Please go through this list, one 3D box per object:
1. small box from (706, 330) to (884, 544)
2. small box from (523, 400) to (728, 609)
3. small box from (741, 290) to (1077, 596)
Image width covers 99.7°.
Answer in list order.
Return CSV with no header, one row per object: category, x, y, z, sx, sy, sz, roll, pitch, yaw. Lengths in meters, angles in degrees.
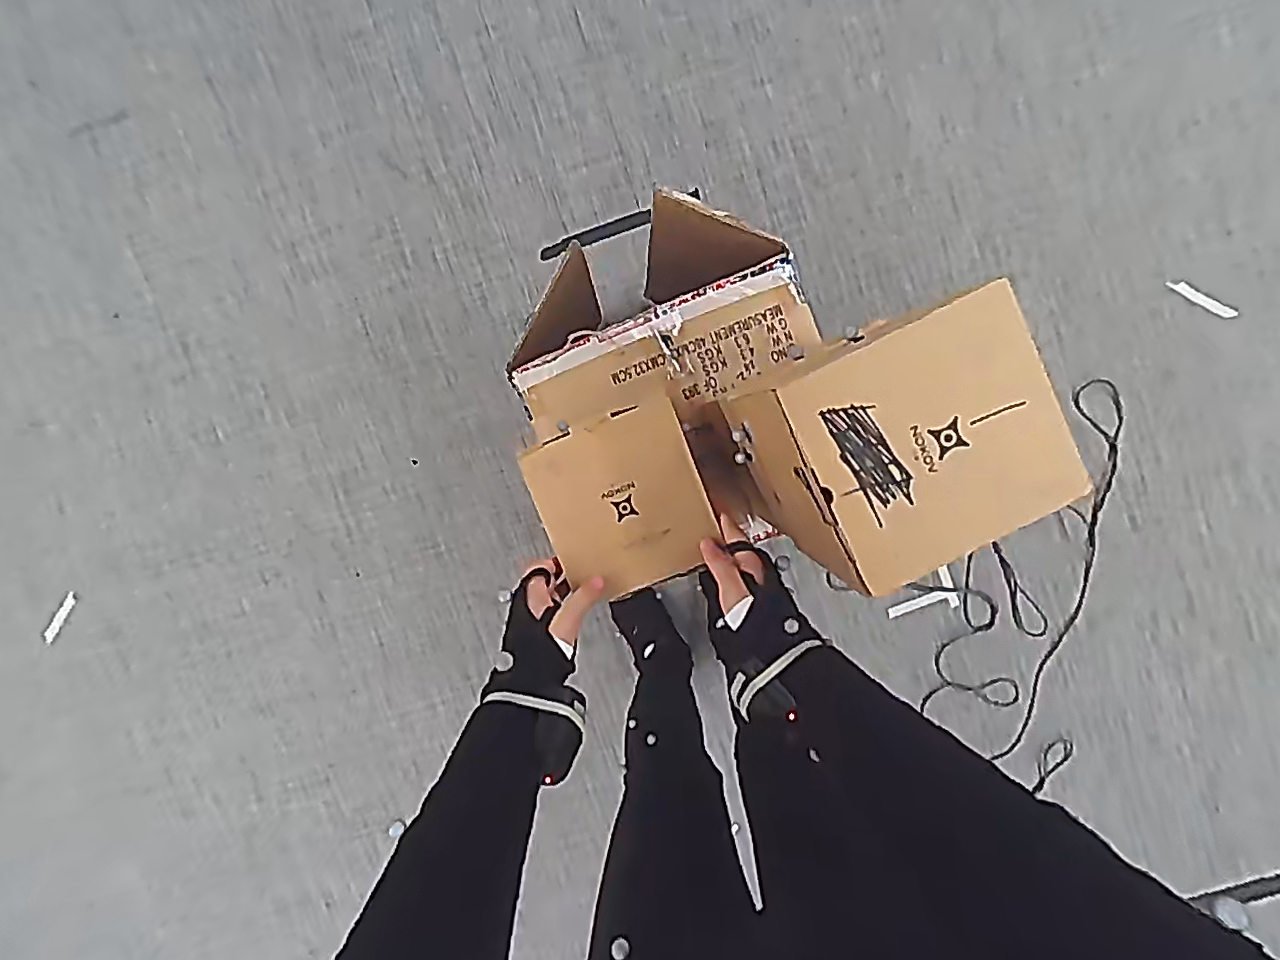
small box,0.195,-0.051,0.625,0.179,0.176,0.168,-26,96,1
small box,-0.015,0.018,0.630,0.168,0.176,0.179,-22,97,3
small box,0.200,-0.030,0.461,0.179,0.176,0.168,-26,96,1
